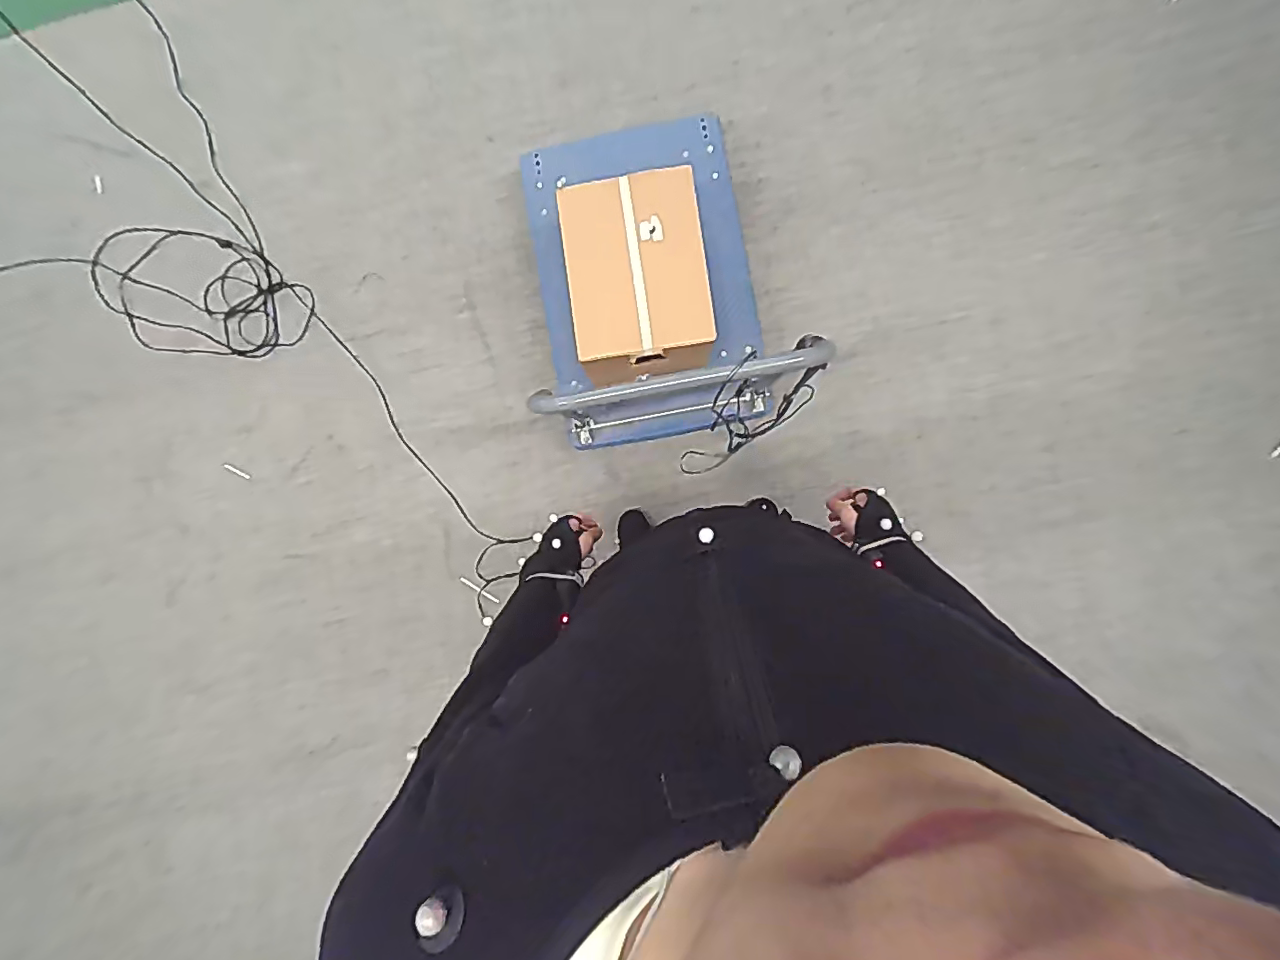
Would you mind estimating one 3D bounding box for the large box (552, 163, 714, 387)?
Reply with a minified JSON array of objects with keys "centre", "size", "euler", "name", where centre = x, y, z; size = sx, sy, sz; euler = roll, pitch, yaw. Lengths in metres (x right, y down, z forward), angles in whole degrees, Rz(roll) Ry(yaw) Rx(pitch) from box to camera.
[{"centre":[-0.008,-0.477,1.340],"size":[0.320,0.320,0.408],"euler":[-8,87,2],"name":"large box"}]
